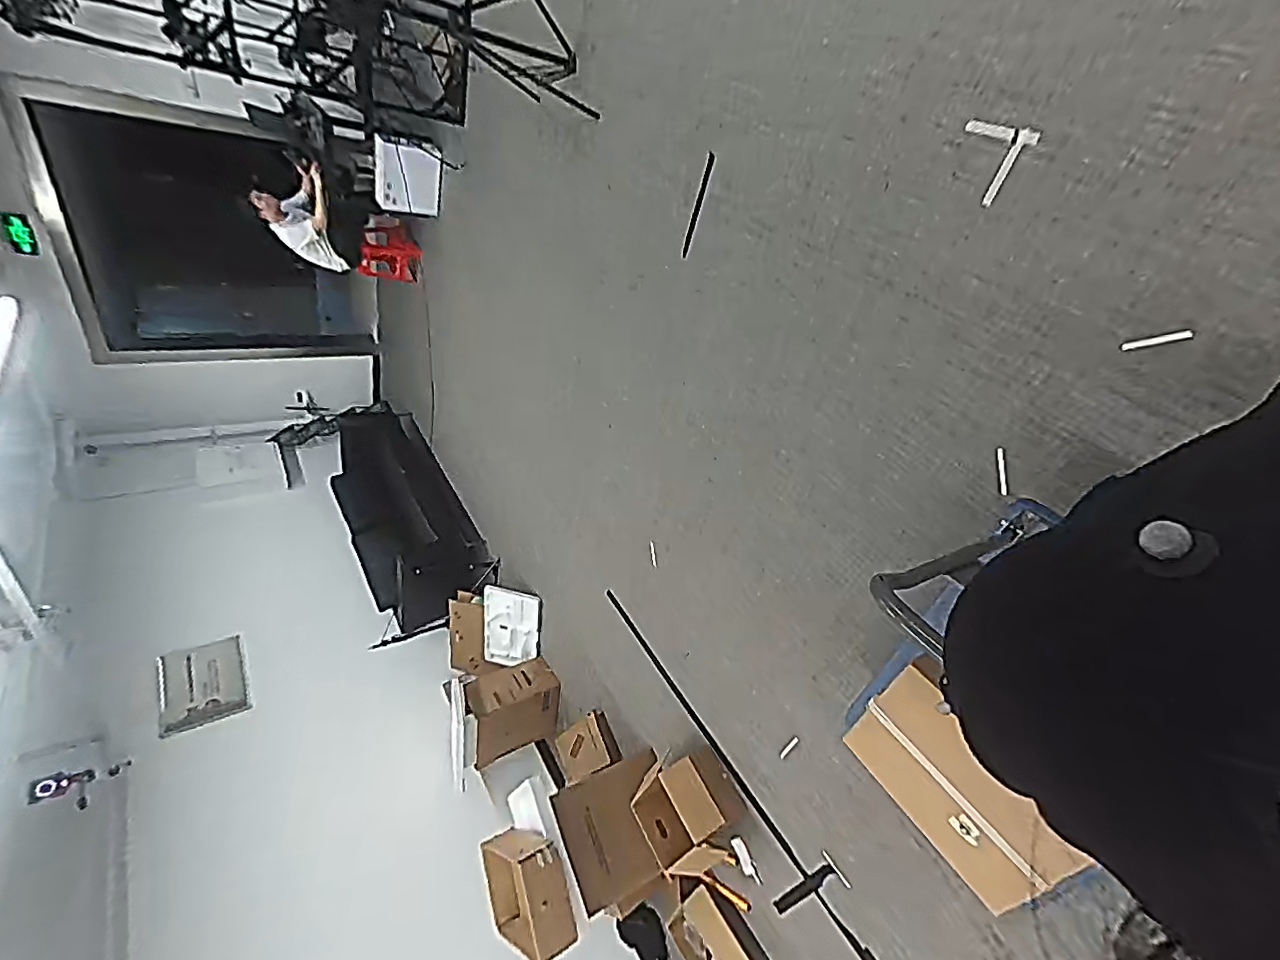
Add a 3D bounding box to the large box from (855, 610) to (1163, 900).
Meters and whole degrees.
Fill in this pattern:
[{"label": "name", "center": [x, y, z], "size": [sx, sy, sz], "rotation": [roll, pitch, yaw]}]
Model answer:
[{"label": "large box", "center": [0.774, 0.563, 1.176], "size": [0.408, 0.320, 0.320], "rotation": [46, 134, 36]}]
